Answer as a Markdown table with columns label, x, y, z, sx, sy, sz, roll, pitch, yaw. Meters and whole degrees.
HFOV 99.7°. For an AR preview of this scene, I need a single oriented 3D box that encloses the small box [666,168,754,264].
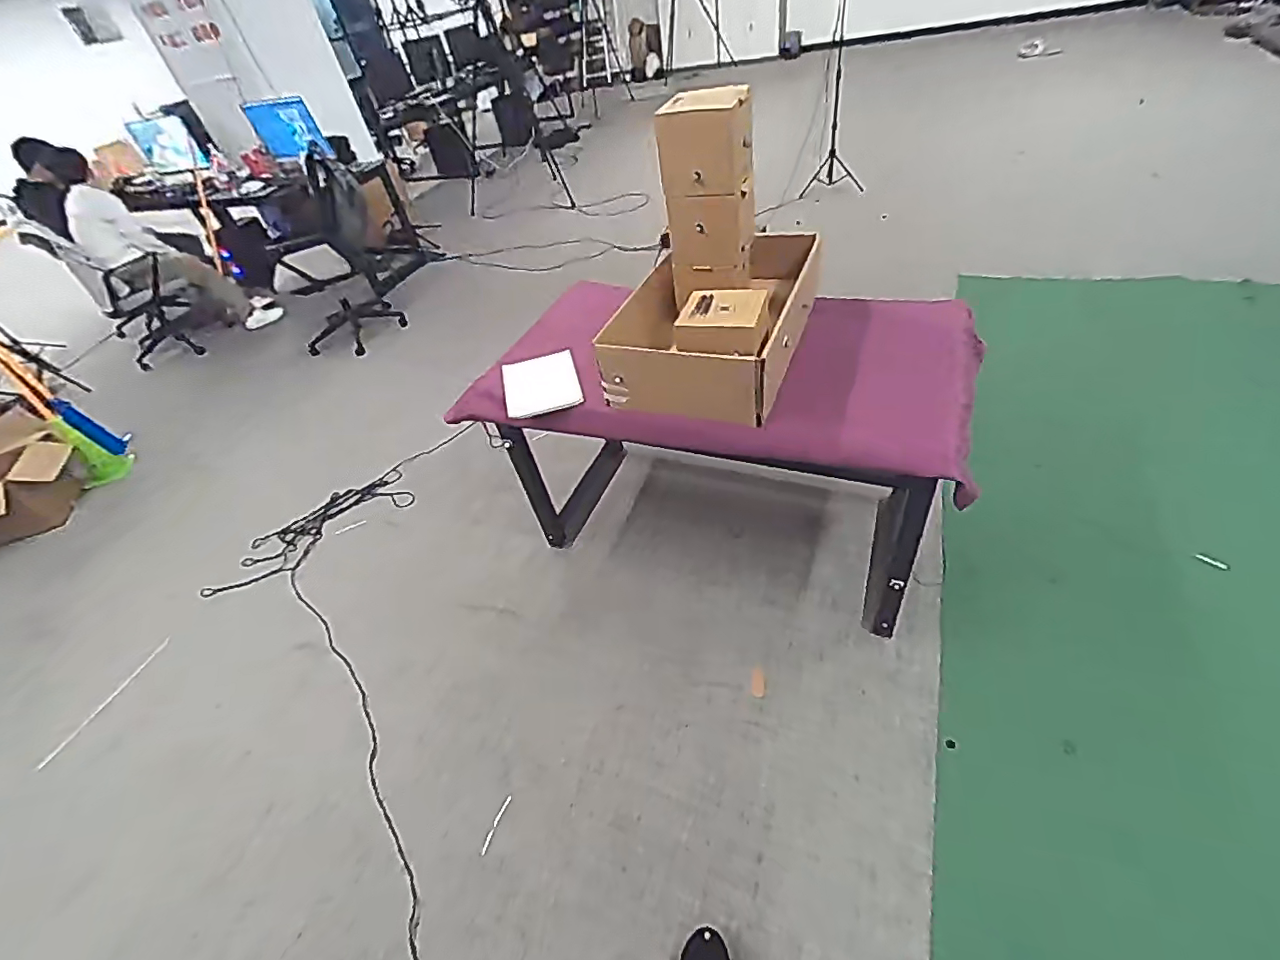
| label | x | y | z | sx | sy | sz | roll | pitch | yaw |
| --- | --- | --- | --- | --- | --- | --- | --- | --- | --- |
| small box | 0.181 | -0.650 | 1.340 | 0.179 | 0.176 | 0.168 | 9 | 49 | 21 |

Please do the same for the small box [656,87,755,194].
| label | x | y | z | sx | sy | sz | roll | pitch | yaw |
| --- | --- | --- | --- | --- | --- | --- | --- | --- | --- |
| small box | 0.154 | -0.766 | 1.228 | 0.179 | 0.176 | 0.168 | 12 | 49 | 22 |
